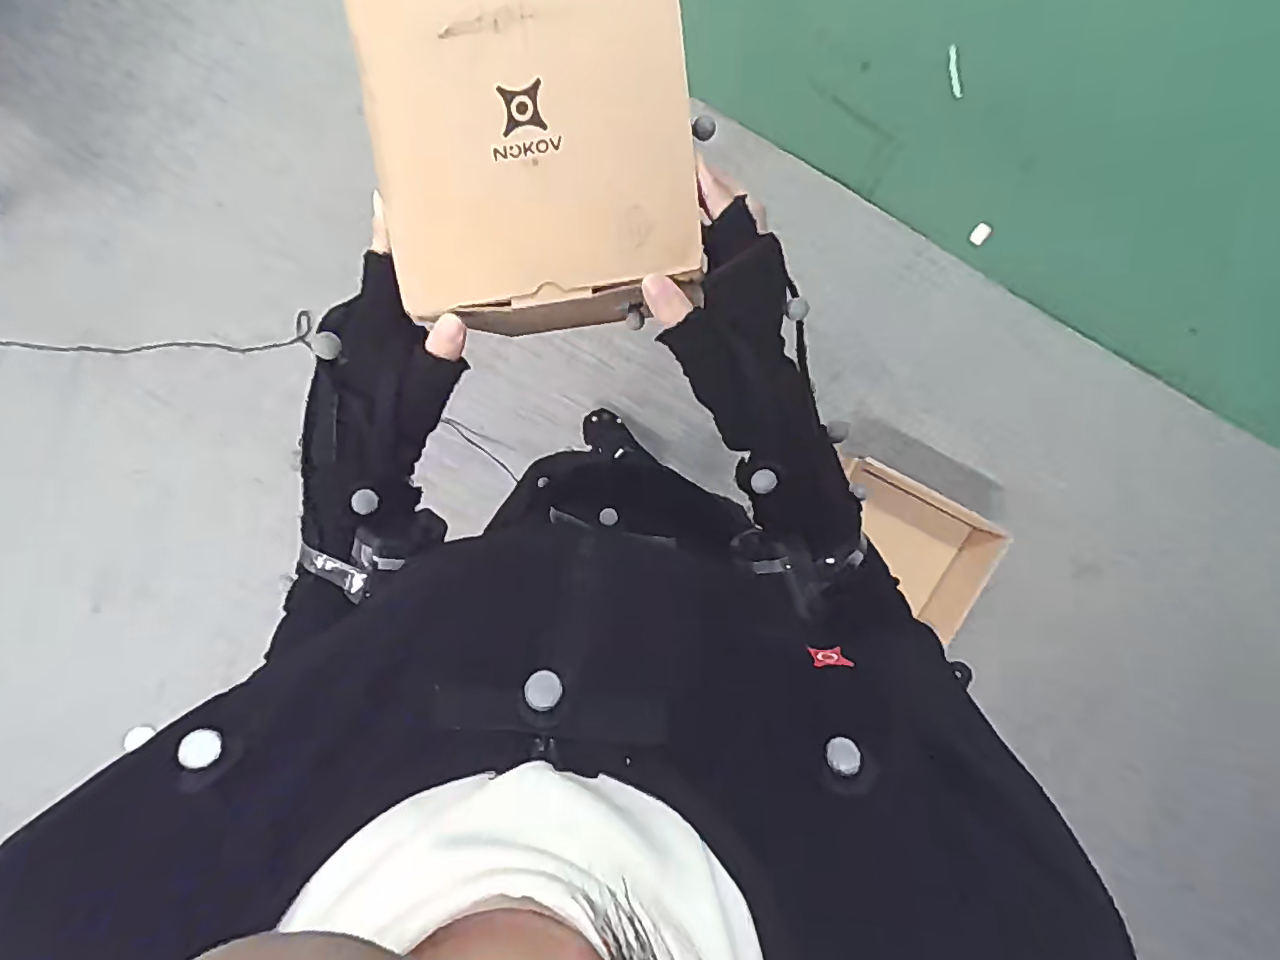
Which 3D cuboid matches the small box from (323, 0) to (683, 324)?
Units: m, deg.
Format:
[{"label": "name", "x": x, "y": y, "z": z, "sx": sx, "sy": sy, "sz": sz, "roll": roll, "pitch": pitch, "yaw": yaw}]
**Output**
[{"label": "small box", "x": -0.062, "y": -0.201, "z": 0.349, "sx": 0.168, "sy": 0.176, "sz": 0.179, "roll": -6, "pitch": 100, "yaw": 6}]
